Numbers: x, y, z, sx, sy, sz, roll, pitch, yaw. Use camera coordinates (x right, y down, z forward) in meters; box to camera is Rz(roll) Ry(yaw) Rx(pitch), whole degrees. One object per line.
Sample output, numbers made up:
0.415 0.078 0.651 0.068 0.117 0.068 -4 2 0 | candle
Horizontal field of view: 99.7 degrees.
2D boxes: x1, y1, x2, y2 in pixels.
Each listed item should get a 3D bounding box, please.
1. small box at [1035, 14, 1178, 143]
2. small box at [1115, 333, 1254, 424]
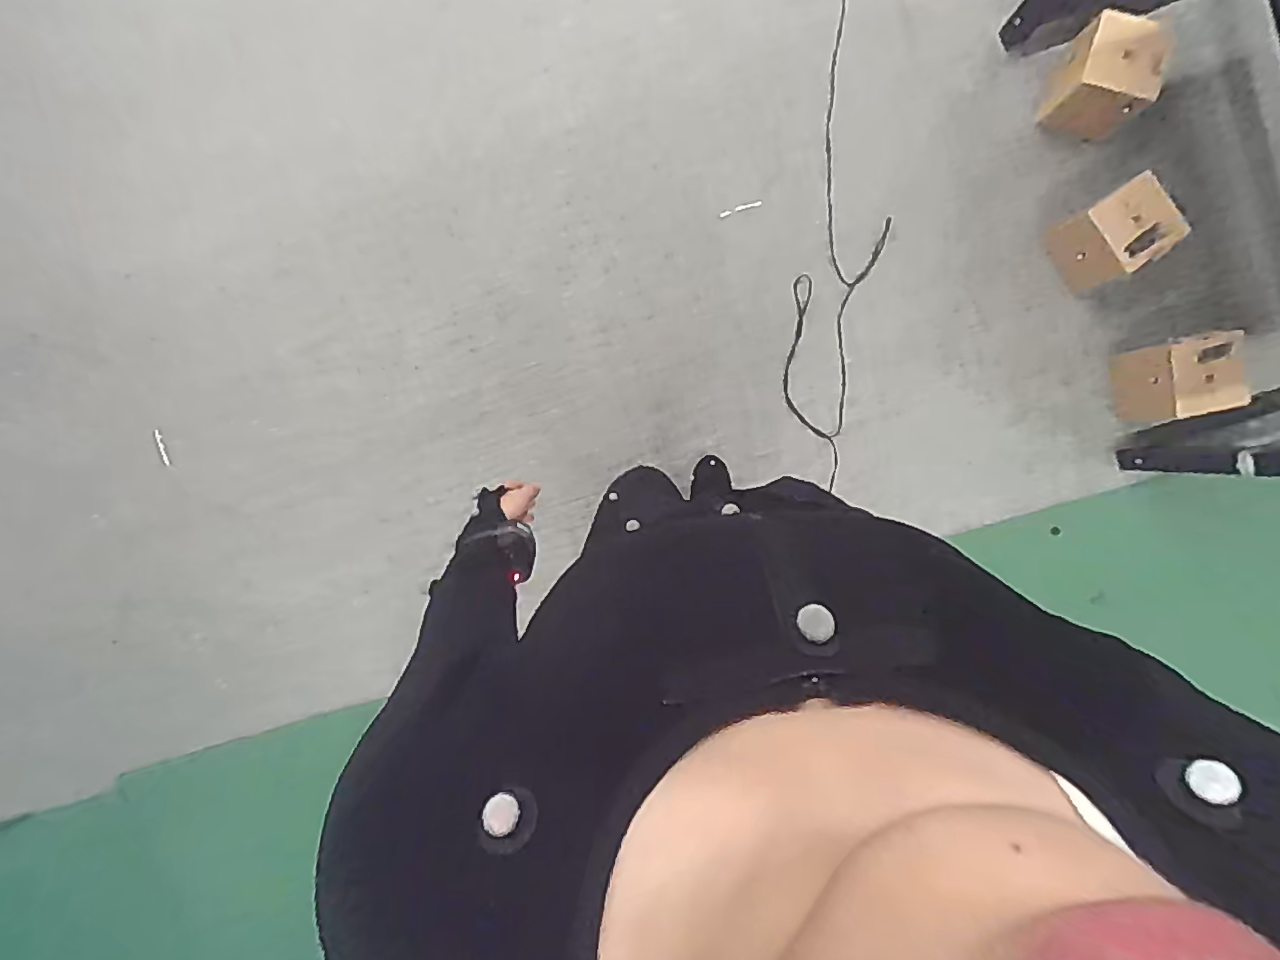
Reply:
1.099 -0.946 1.290 0.179 0.176 0.168 16 93 1 | small box
1.307 -0.240 1.313 0.168 0.176 0.179 -12 93 4 | small box
